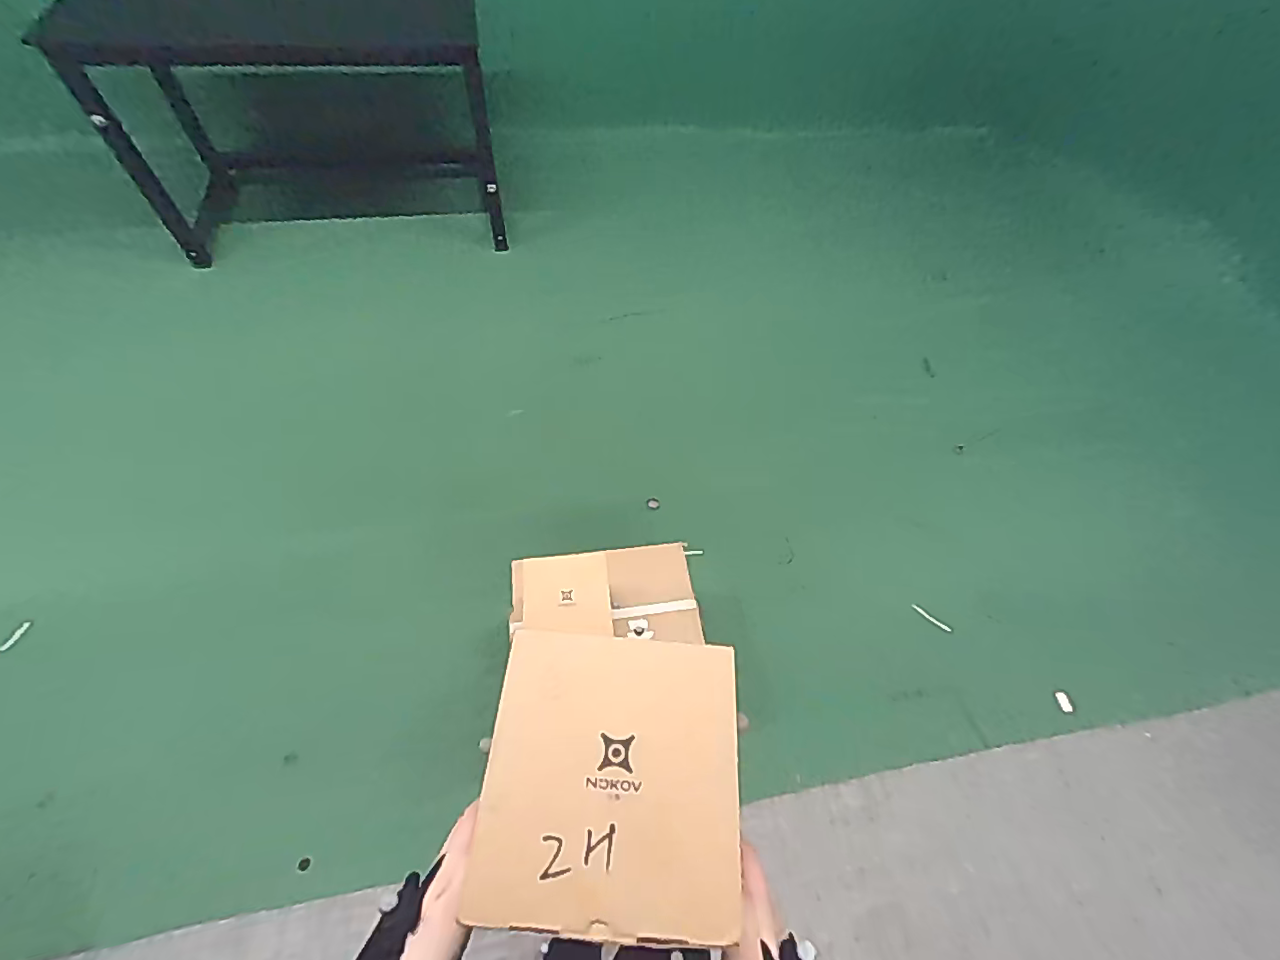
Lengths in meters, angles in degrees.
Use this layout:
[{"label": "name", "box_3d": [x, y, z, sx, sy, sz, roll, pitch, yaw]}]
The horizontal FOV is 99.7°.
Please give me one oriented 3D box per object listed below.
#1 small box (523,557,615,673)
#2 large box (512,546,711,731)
[{"label": "small box", "box_3d": [-0.142, 0.269, 1.074, 0.168, 0.176, 0.179, -3, 58, -8]}, {"label": "large box", "box_3d": [-0.082, 0.384, 1.296, 0.408, 0.320, 0.320, -5, 58, -9]}]
